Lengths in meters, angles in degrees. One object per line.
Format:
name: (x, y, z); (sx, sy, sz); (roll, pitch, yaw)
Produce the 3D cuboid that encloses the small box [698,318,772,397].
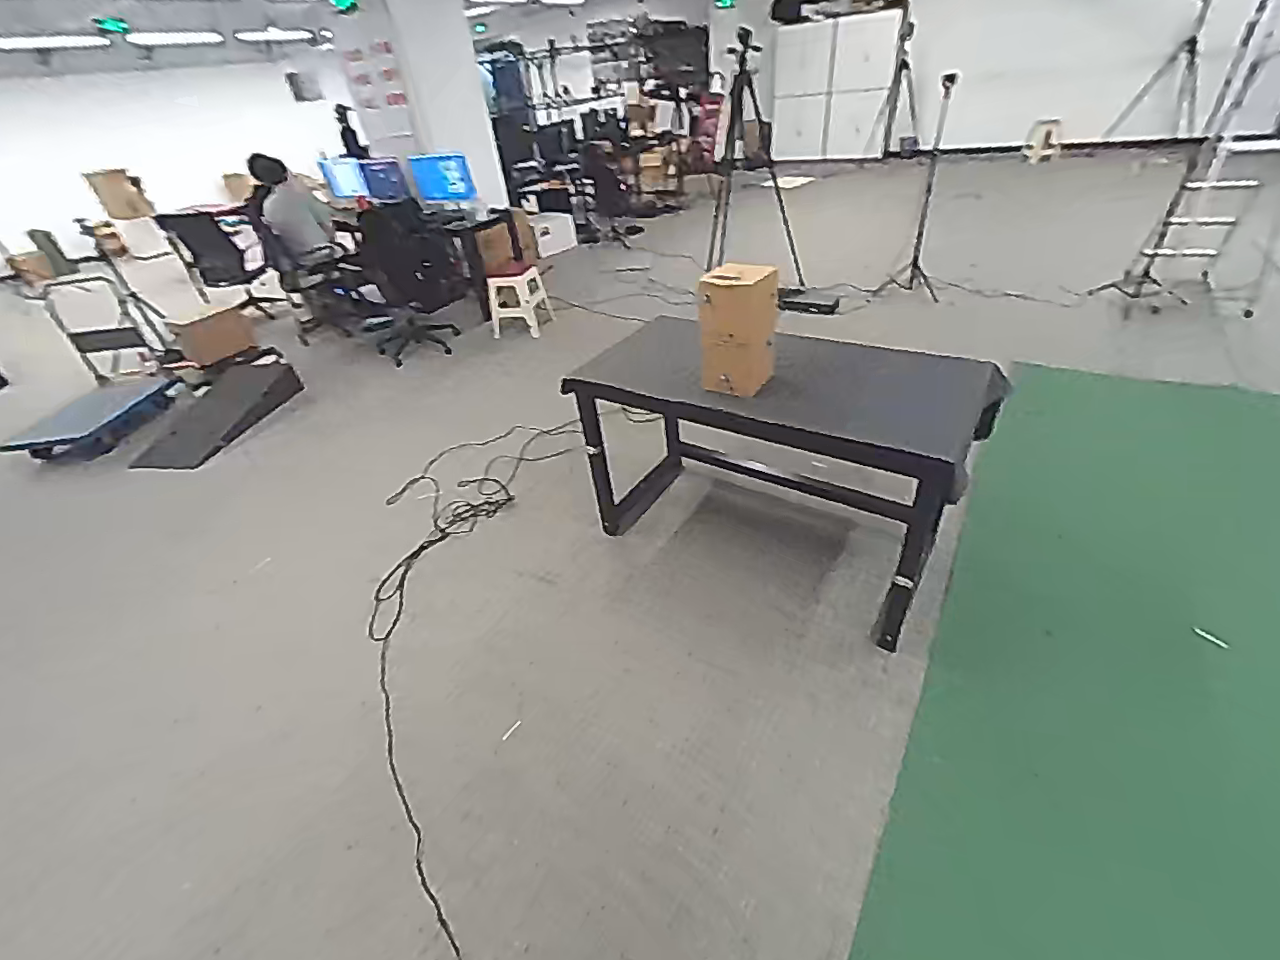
small box: (0.289, -0.376, 1.654); (0.168, 0.176, 0.179); (17, 43, 29)
